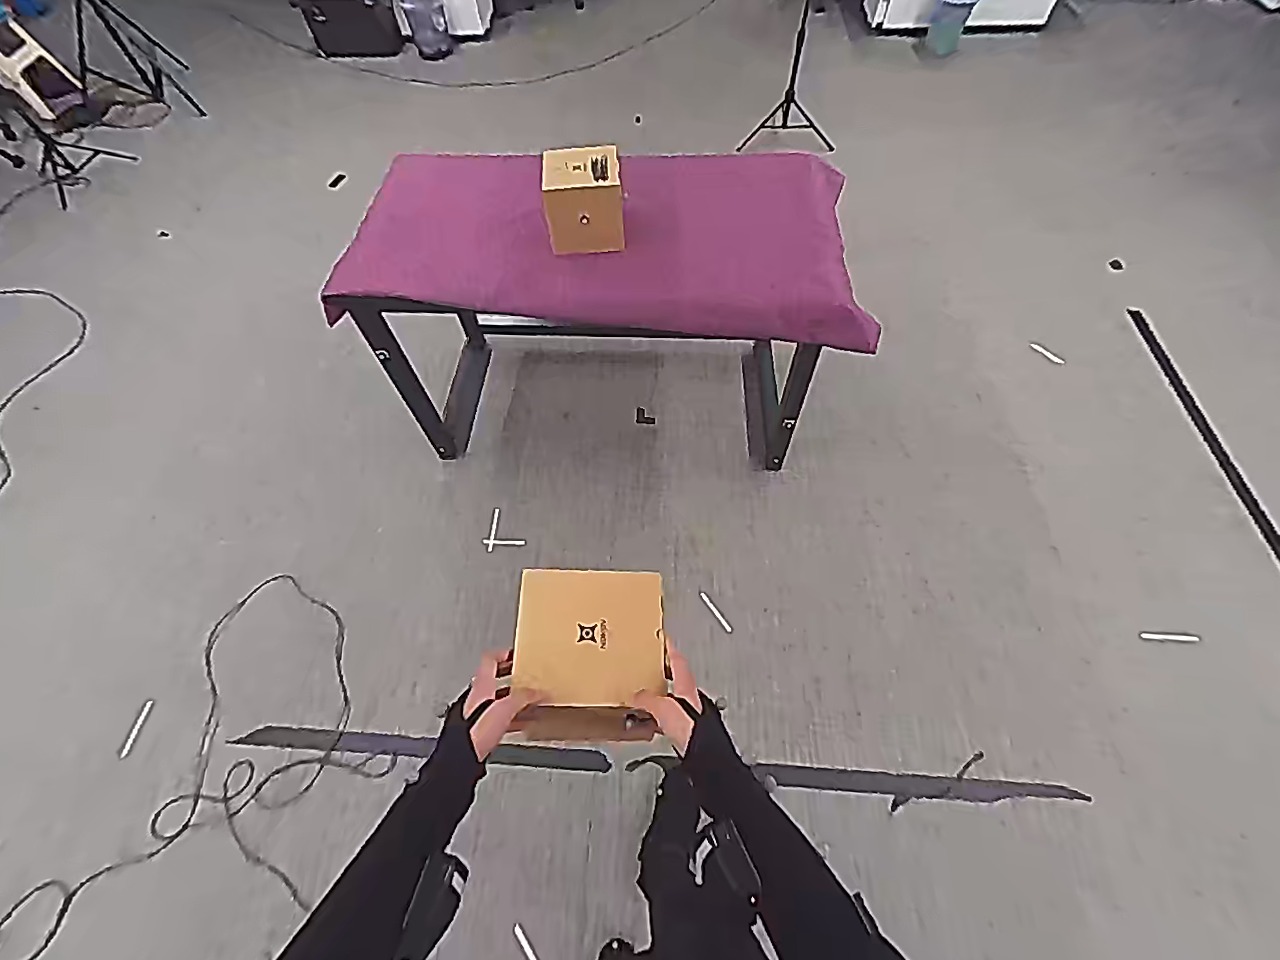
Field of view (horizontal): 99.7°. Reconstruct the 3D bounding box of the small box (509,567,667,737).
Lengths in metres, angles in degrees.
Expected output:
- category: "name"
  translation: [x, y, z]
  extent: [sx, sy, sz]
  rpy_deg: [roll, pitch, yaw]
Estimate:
- category: "small box"
  translation: [-0.065, 0.226, 0.696]
  extent: [0.179, 0.176, 0.168]
  rpy_deg: [3, 53, -6]
